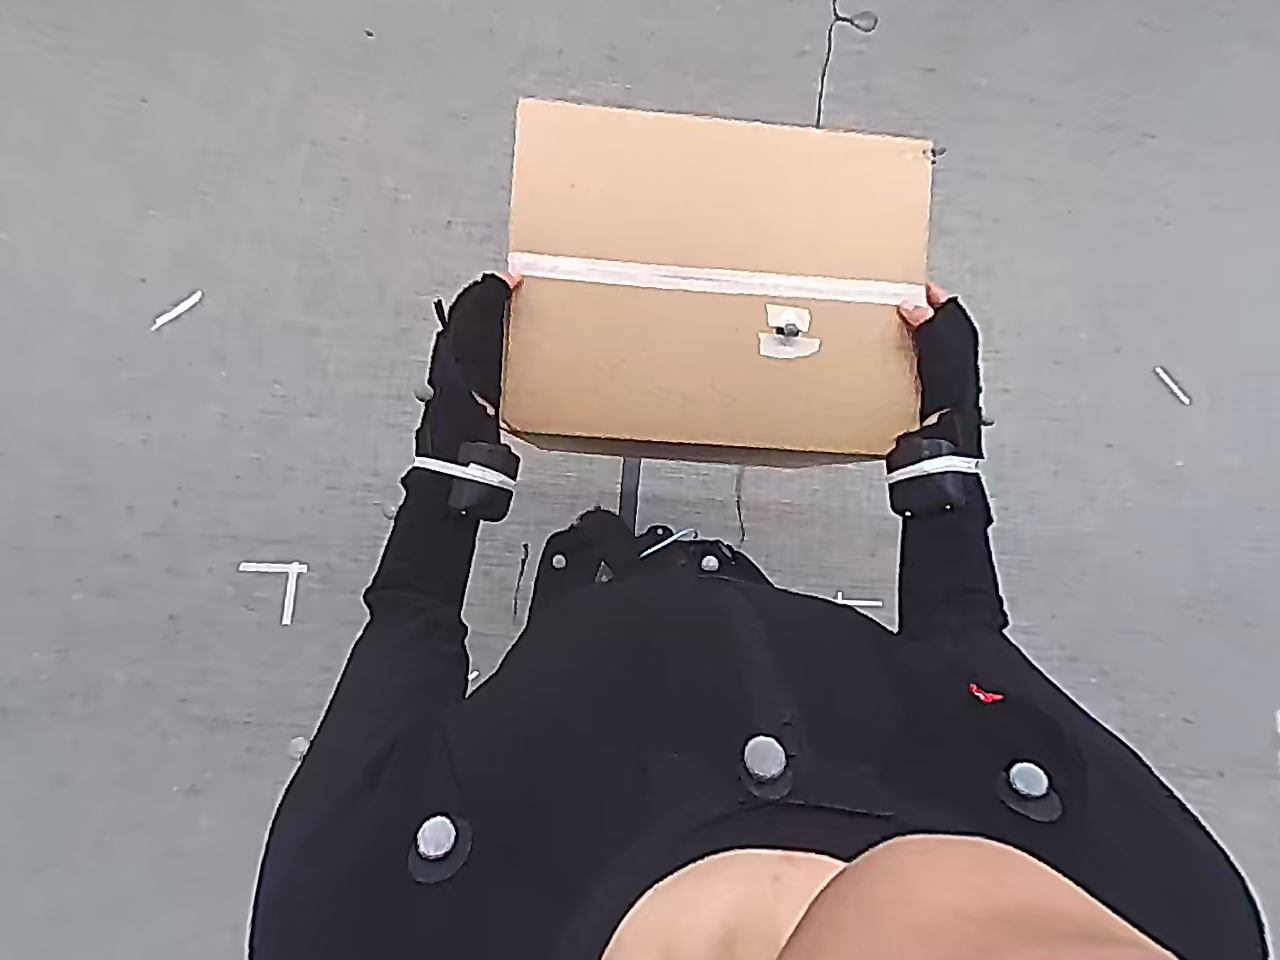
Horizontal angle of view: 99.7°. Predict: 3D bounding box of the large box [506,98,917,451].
[{"bbox_3d":[0.062,-0.206,0.678,0.408,0.320,0.320,4,91,-4],"label":"large box"}]
